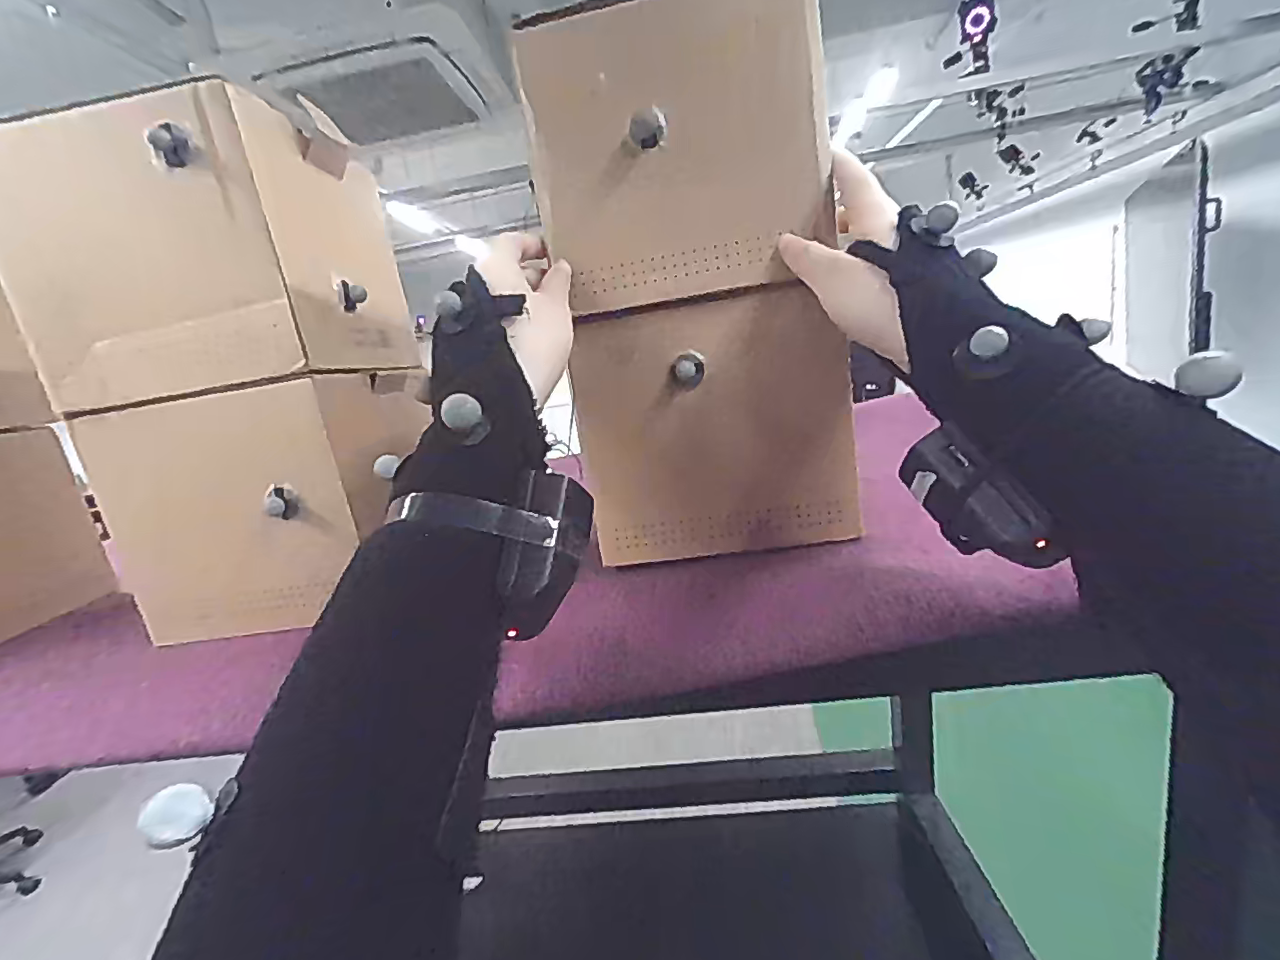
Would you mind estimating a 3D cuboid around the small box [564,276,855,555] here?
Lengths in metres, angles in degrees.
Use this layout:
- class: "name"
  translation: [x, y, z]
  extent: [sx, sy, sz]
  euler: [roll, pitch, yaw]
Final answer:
- class: "small box"
  translation: [0.056, -0.046, 0.430]
  extent: [0.179, 0.176, 0.168]
  euler: [-7, 10, 8]

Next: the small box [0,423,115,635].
- class: "small box"
  translation: [-0.603, 0.058, 0.441]
  extent: [0.168, 0.176, 0.179]
  euler: [-7, 13, 4]

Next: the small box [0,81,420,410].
- class: "small box"
  translation: [-0.296, -0.149, 0.404]
  extent: [0.179, 0.176, 0.168]
  euler: [-9, 12, 3]

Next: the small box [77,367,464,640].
- class: "small box"
  translation: [-0.264, 0.008, 0.437]
  extent: [0.179, 0.176, 0.168]
  euler: [-9, 12, 5]

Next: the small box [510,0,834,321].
- class: "small box"
  translation: [0.029, -0.205, 0.399]
  extent: [0.179, 0.176, 0.168]
  euler: [-8, 10, 8]
